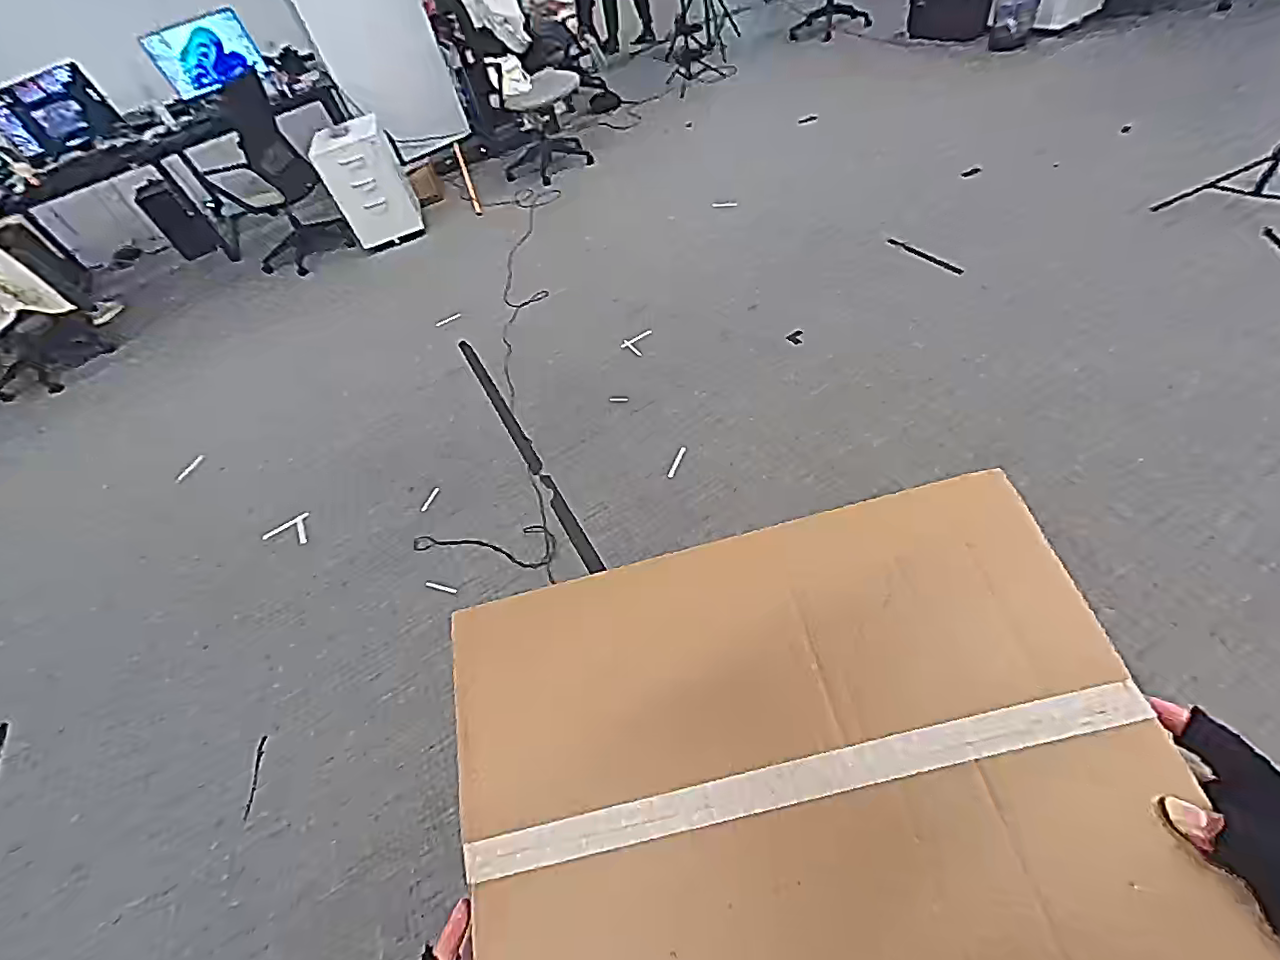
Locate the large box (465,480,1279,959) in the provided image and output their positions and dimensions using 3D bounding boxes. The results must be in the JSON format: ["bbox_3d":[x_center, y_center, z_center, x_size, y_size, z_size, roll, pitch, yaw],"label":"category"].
[{"bbox_3d":[0.116,0.251,0.458,0.408,0.320,0.320,-16,63,3],"label":"large box"}]
